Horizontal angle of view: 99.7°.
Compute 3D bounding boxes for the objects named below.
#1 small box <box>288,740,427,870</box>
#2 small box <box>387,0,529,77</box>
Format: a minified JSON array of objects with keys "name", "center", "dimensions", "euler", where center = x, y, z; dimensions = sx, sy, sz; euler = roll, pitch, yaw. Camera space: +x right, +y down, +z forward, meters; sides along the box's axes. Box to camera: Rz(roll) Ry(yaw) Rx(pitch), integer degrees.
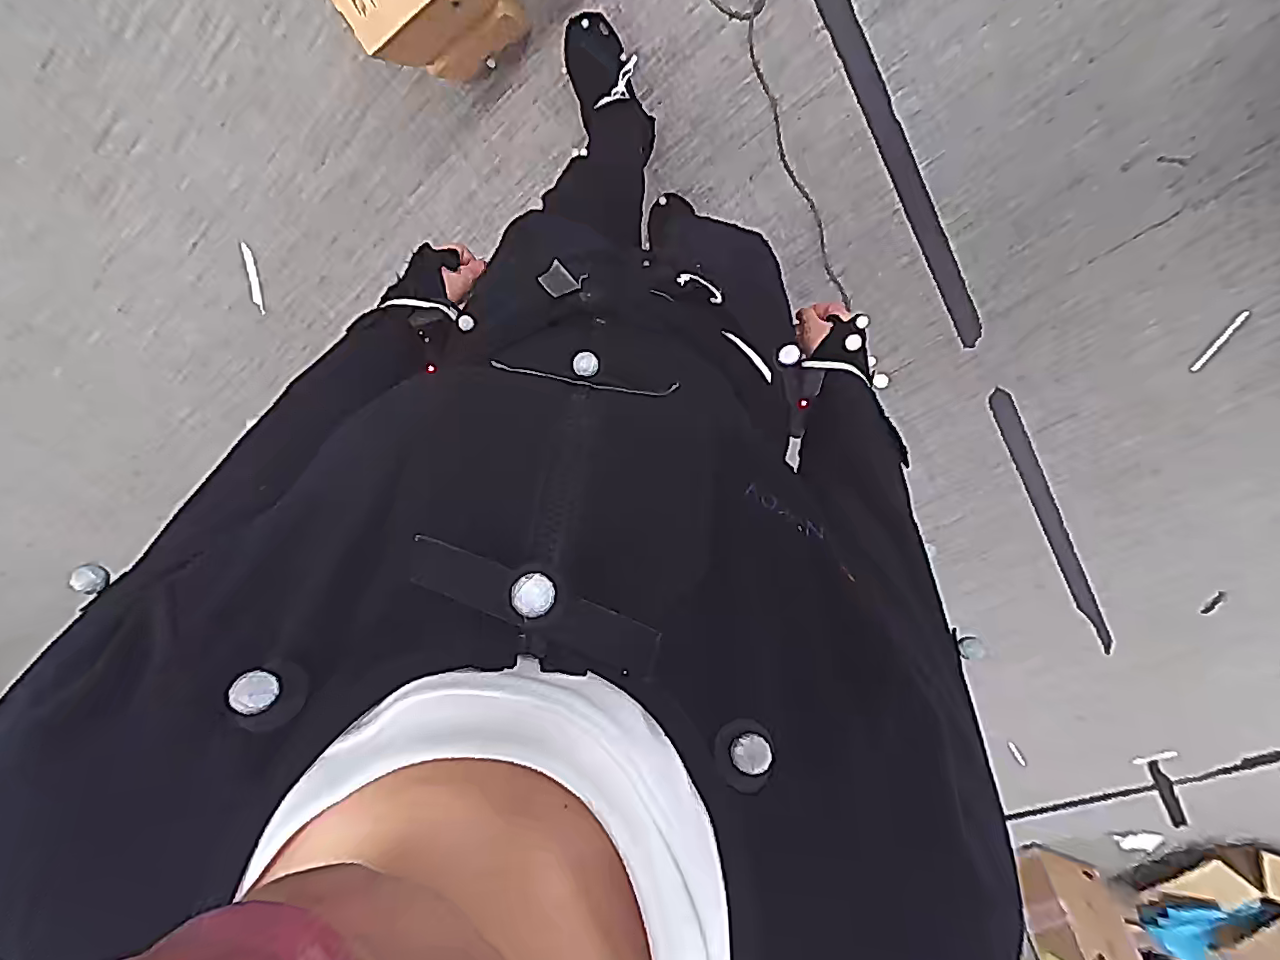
[{"name":"small box","center":[-0.581,0.682,1.144],"dimensions":[0.179,0.176,0.168],"euler":[-30,115,22]},{"name":"small box","center":[-0.314,-0.819,0.909],"dimensions":[0.168,0.176,0.179],"euler":[-23,118,20]}]
